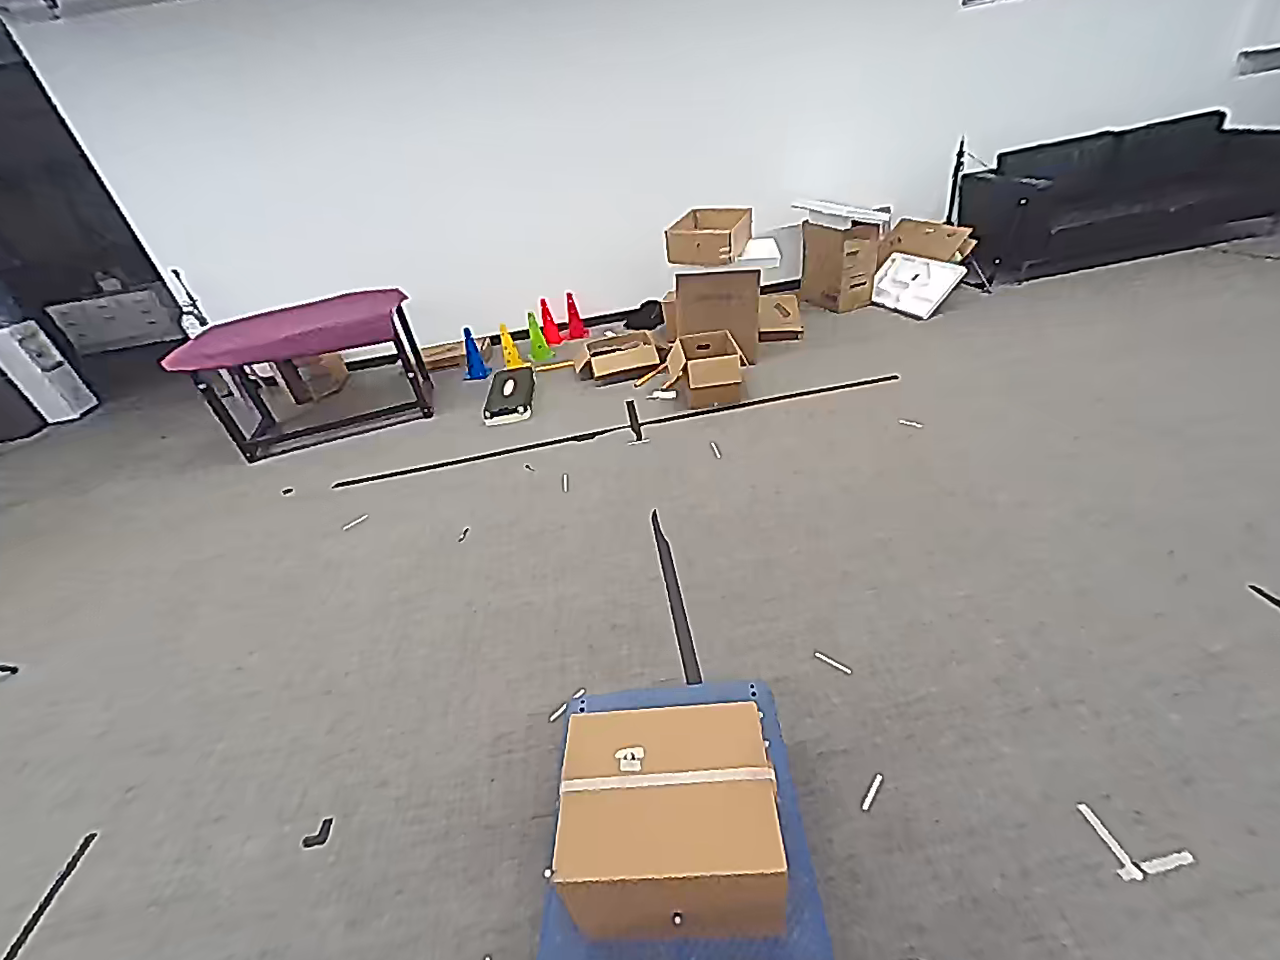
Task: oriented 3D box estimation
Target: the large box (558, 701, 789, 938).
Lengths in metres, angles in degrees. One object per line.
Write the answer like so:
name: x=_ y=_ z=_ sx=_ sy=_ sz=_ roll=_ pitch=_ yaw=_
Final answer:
large box: x=0.075 y=0.708 z=1.130 sx=0.408 sy=0.320 sz=0.320 roll=-8 pitch=34 yaw=5
